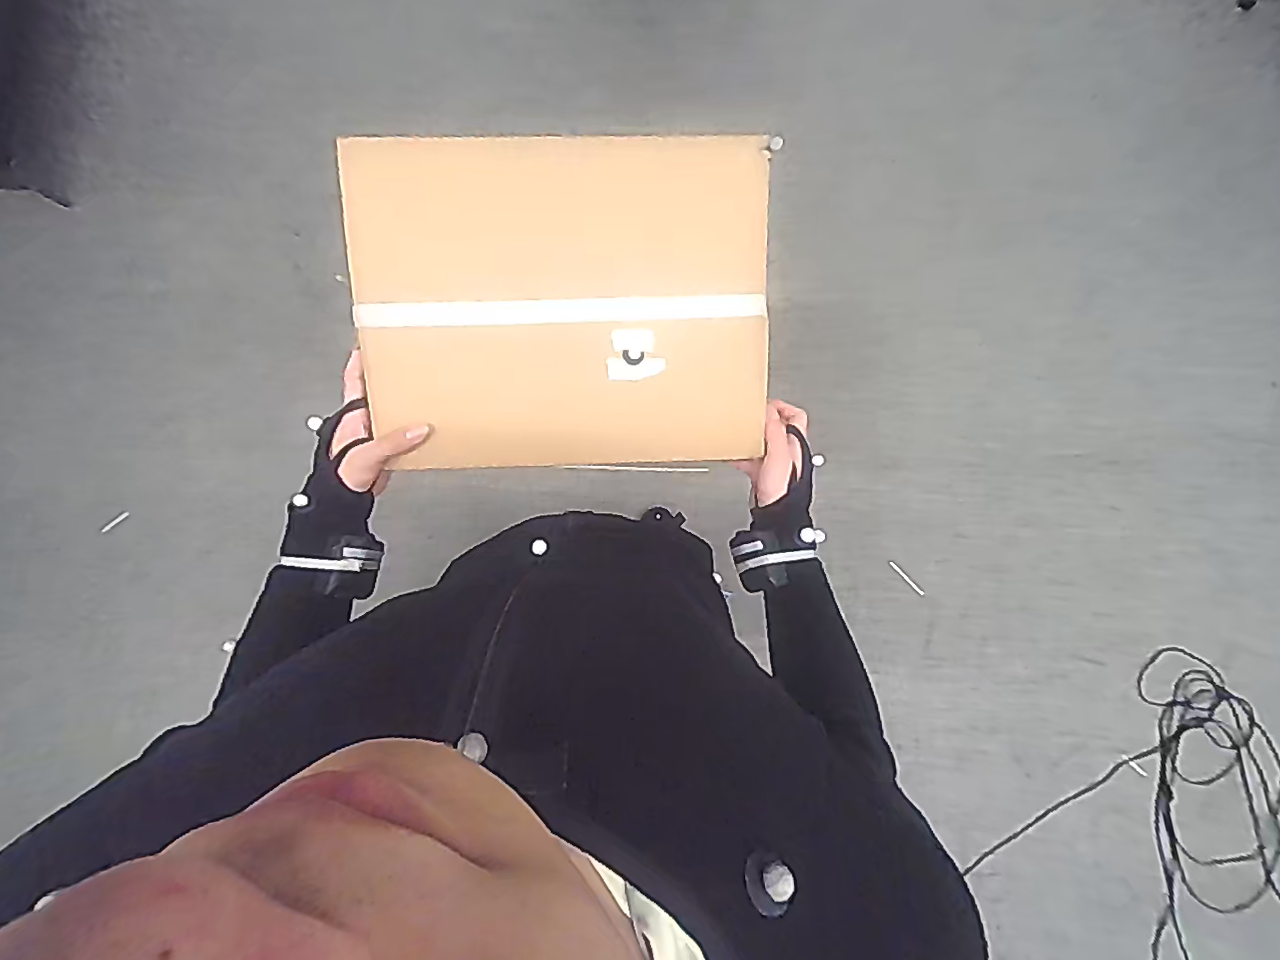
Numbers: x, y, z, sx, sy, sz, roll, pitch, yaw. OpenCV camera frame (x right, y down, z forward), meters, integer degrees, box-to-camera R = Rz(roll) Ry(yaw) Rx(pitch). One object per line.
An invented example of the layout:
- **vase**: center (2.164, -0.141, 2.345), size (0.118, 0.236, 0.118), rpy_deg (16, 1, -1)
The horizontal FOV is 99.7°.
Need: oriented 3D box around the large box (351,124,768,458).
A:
- **large box**: center (-0.078, -0.213, 0.688), size (0.408, 0.320, 0.320), rpy_deg (-3, 103, -3)
